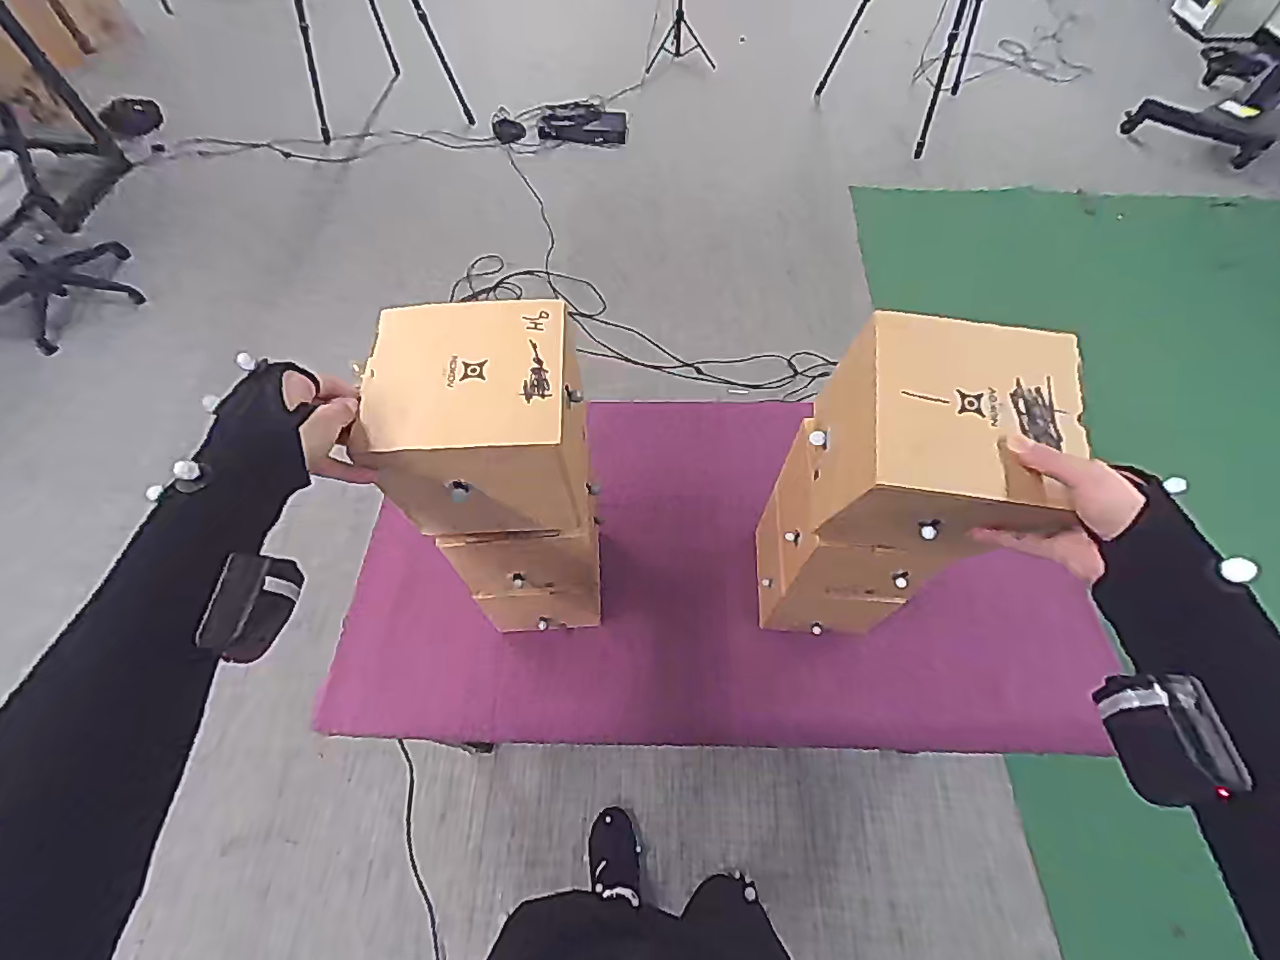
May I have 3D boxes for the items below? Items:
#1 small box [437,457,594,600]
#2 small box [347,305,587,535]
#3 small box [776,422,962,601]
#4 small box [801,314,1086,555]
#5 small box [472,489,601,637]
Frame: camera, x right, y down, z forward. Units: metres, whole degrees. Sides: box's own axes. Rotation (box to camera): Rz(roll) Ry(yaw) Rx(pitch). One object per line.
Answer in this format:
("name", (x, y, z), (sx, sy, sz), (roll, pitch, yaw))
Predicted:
("small box", (-0.150, 0.042, 0.709), (0.168, 0.176, 0.179), (-5, 59, -3))
("small box", (-0.154, -0.052, 0.550), (0.179, 0.176, 0.168), (-3, 60, 1))
("small box", (0.276, 0.047, 0.697), (0.168, 0.176, 0.179), (3, 58, 2))
("small box", (0.269, -0.031, 0.521), (0.179, 0.176, 0.168), (8, 69, 3))
("small box", (-0.150, 0.131, 0.844), (0.168, 0.176, 0.179), (-3, 58, -1))
